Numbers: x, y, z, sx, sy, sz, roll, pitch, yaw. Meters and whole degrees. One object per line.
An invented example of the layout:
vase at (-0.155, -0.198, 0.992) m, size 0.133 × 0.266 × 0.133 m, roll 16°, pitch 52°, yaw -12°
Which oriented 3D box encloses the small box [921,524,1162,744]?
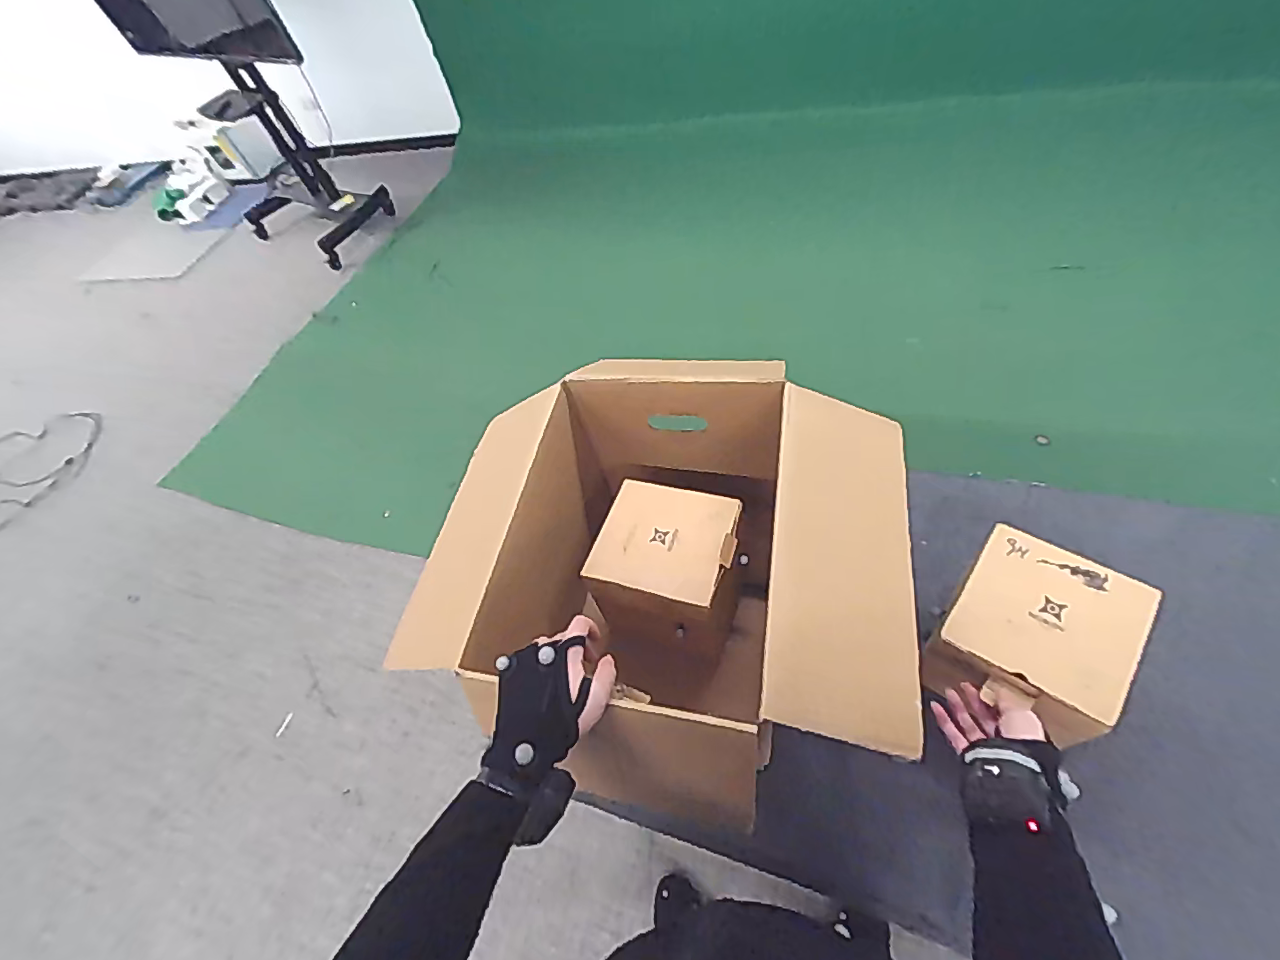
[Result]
small box at (0.471, 0.193, 0.665) m, size 0.168 × 0.176 × 0.179 m, roll 32°, pitch 70°, yaw 31°
